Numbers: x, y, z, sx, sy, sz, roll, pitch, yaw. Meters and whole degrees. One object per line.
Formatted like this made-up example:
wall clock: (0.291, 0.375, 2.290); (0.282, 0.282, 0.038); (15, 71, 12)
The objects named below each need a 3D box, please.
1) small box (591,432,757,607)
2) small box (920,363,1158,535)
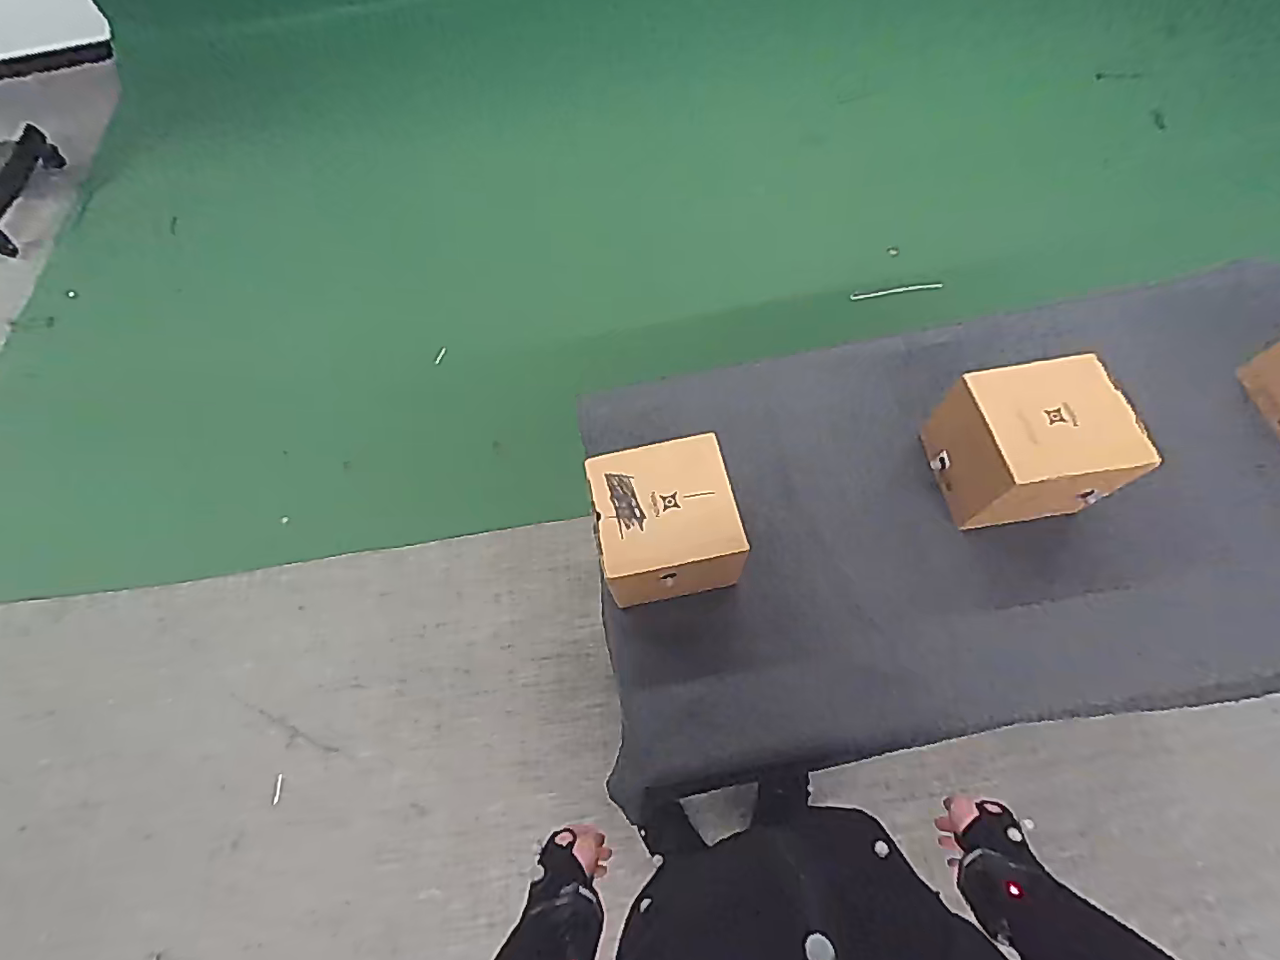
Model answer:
small box: (0.040, 0.061, 0.724); (0.179, 0.176, 0.168); (-11, 64, -4)
small box: (0.533, -0.037, 0.755); (0.179, 0.176, 0.168); (-9, 63, -1)
